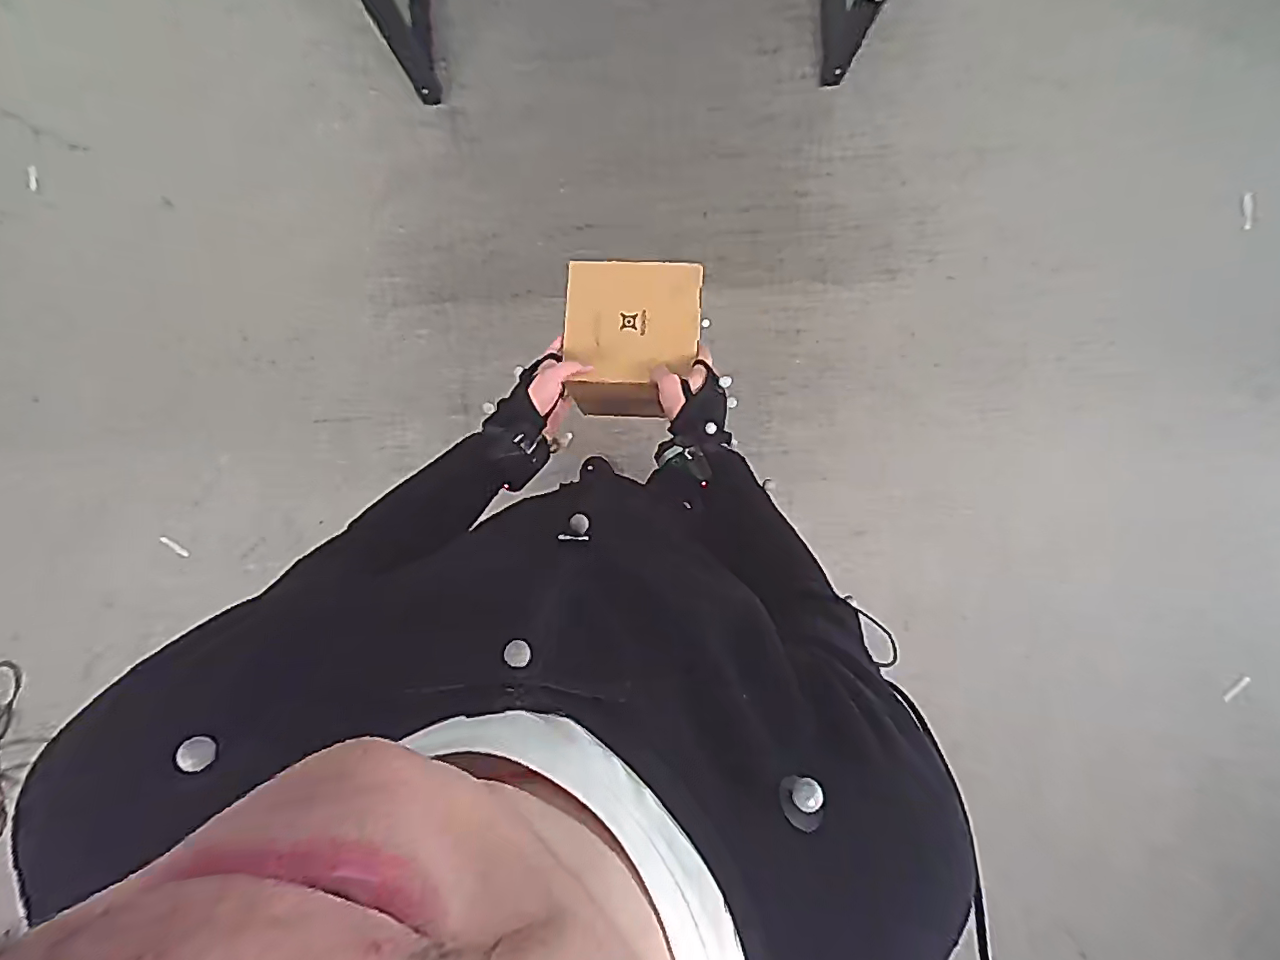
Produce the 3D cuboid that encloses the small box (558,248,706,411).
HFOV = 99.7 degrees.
[{"bbox_3d":[-0.006,-0.199,0.756,0.179,0.176,0.168,4,81,4],"label":"small box"}]
